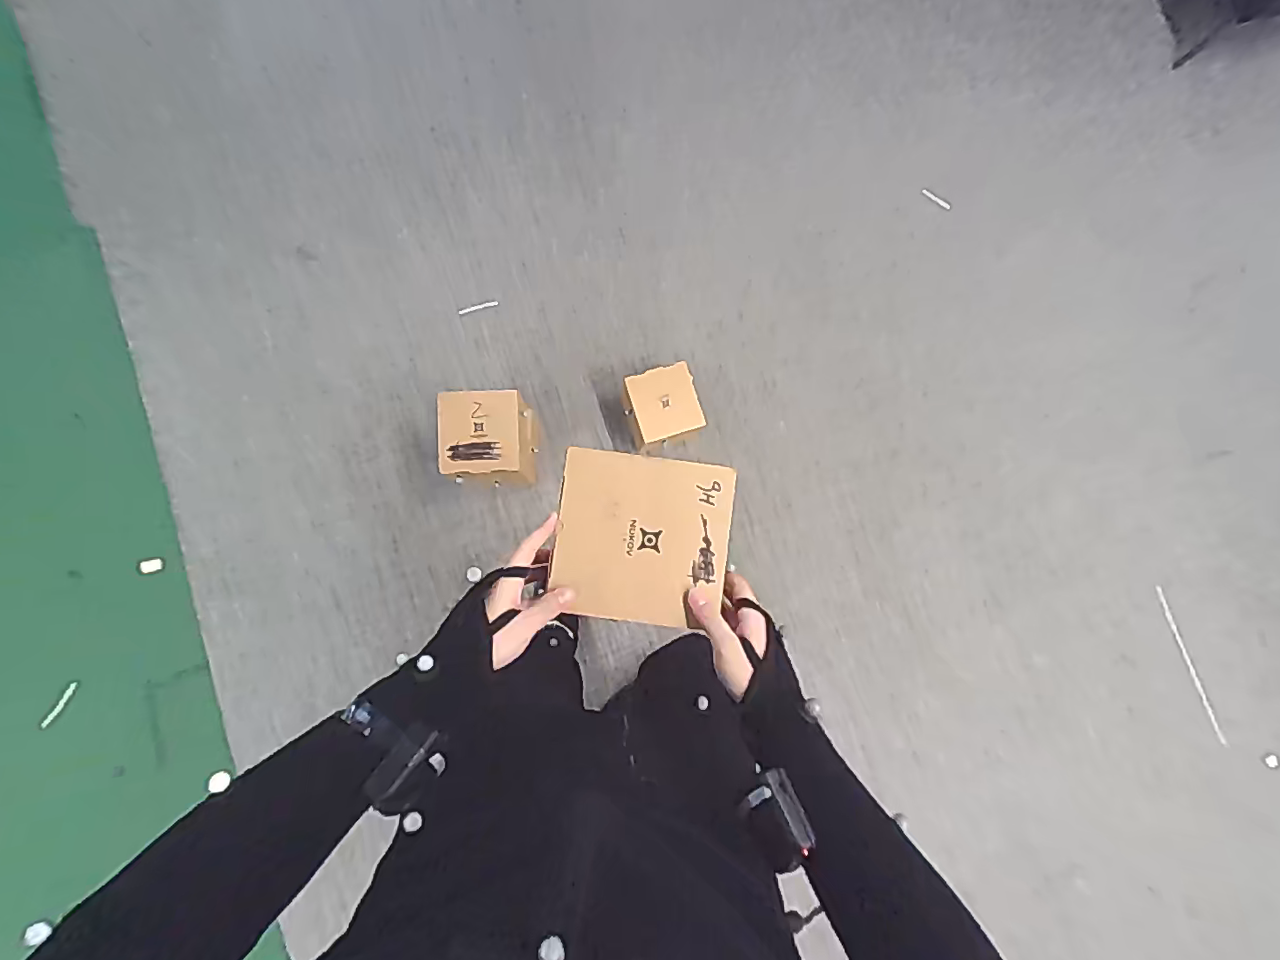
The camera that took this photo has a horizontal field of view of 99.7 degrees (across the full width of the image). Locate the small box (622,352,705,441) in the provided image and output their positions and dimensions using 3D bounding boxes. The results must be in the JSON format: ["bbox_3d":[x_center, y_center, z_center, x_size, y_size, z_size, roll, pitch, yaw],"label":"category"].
[{"bbox_3d":[0.056,-0.206,1.398,0.168,0.176,0.179,-16,86,-6],"label":"small box"}]

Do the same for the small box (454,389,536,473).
[{"bbox_3d":[-0.354,-0.115,1.351,0.168,0.176,0.179,5,84,-6],"label":"small box"}]

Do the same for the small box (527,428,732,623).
[{"bbox_3d":[-0.010,0.050,0.600,0.179,0.176,0.168,10,86,0],"label":"small box"}]
